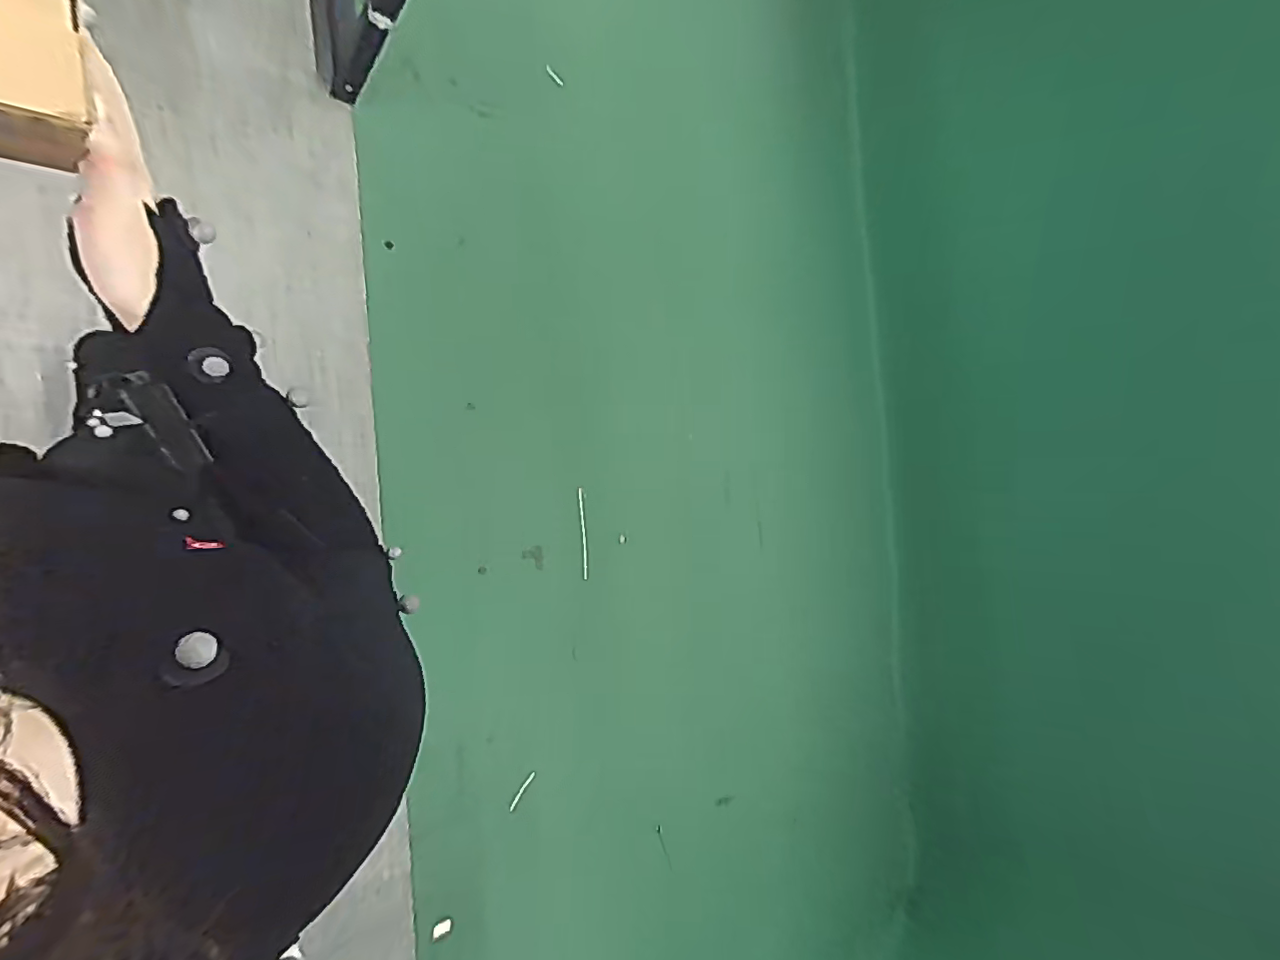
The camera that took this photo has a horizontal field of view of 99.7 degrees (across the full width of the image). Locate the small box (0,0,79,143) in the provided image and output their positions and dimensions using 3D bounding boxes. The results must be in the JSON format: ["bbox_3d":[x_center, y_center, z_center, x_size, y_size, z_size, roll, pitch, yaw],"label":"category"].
[{"bbox_3d":[-0.324,-0.232,0.177,0.179,0.176,0.168,-11,114,-46],"label":"small box"}]
